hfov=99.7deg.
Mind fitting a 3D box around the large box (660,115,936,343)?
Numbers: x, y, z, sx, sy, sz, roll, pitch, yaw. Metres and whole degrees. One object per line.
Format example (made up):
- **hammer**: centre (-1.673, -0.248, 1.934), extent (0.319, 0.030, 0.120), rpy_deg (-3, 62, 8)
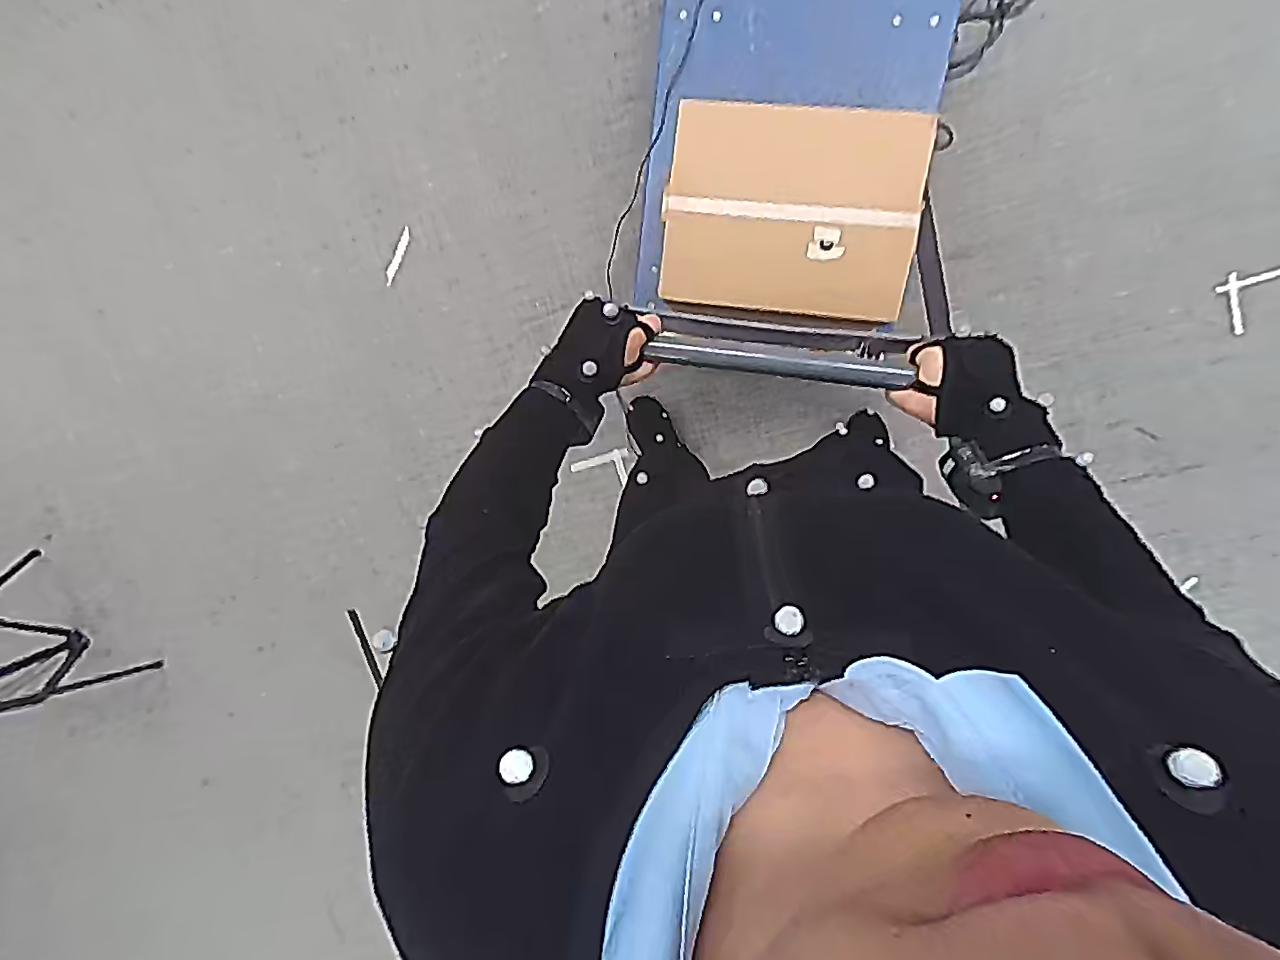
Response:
- **large box**: centre (0.263, -0.443, 1.023), extent (0.408, 0.320, 0.320), rpy_deg (8, 103, 7)
